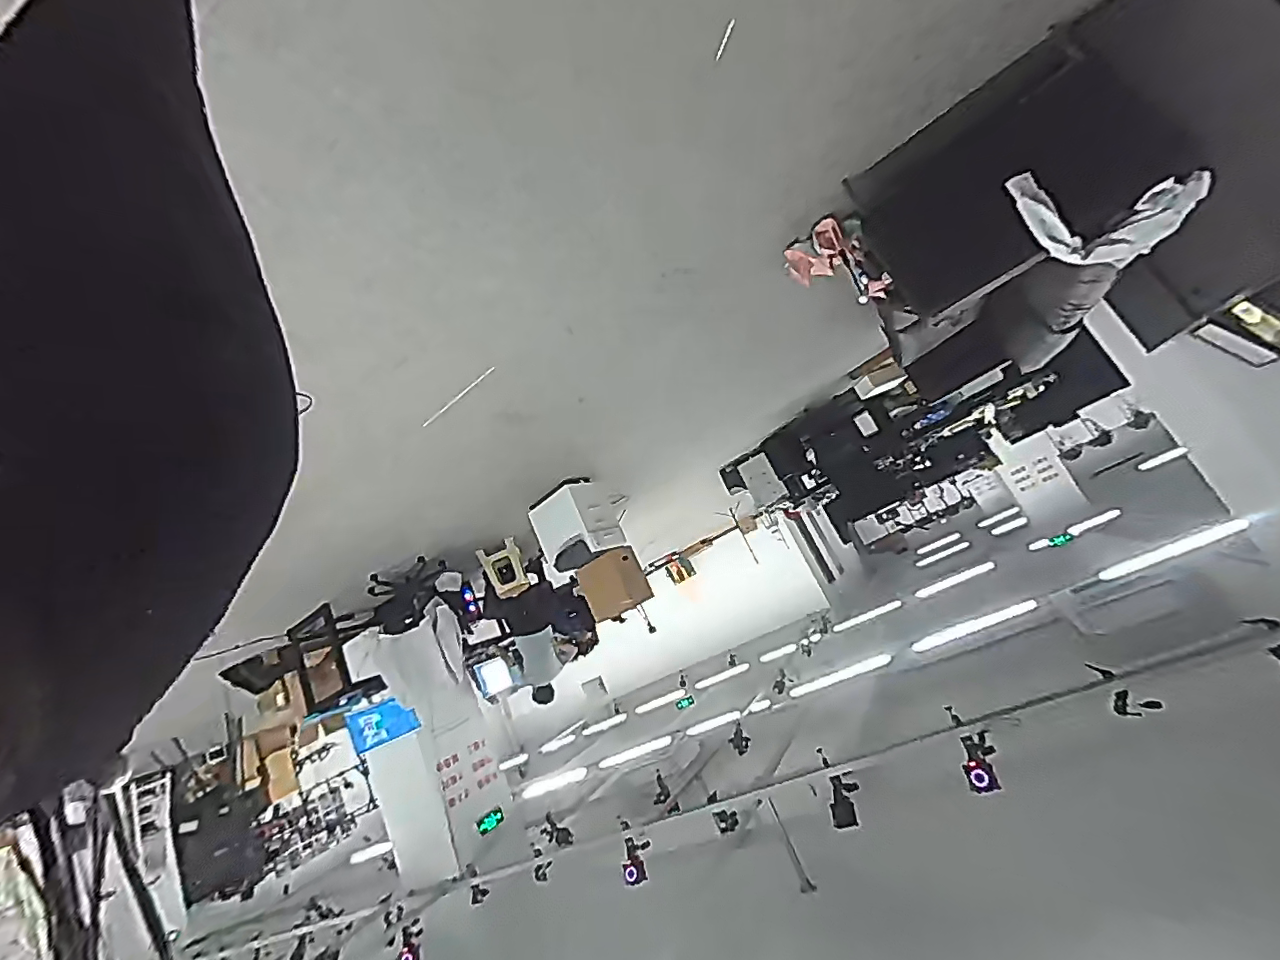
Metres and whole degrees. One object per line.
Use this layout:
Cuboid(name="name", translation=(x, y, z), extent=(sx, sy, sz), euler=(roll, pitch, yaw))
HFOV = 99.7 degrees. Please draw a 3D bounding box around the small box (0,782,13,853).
Cuboid(name="small box", translation=(-1.849, 0.954, 1.460), extent=(0.168, 0.176, 0.179), euler=(-34, 163, 29))
